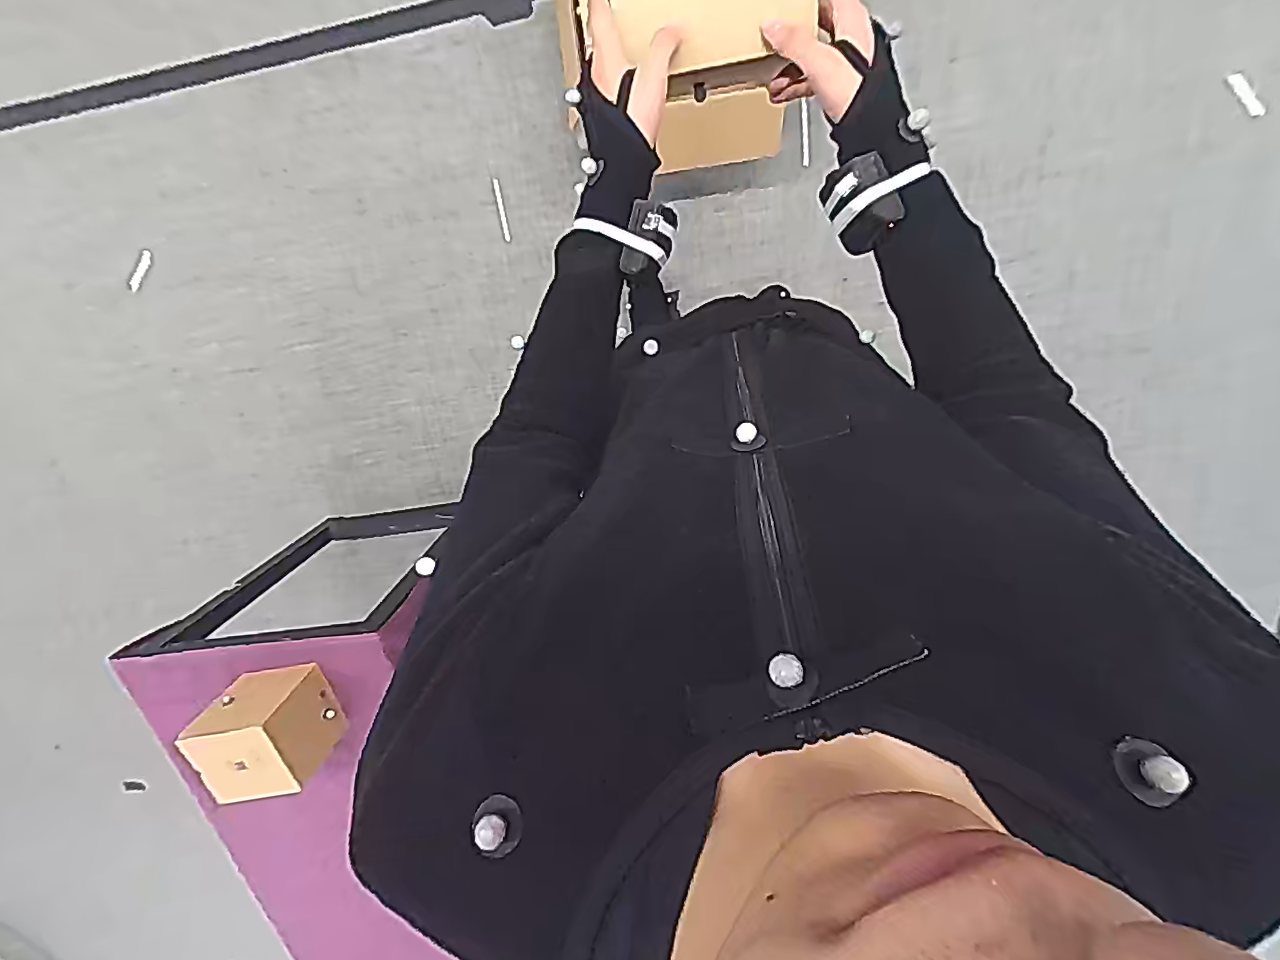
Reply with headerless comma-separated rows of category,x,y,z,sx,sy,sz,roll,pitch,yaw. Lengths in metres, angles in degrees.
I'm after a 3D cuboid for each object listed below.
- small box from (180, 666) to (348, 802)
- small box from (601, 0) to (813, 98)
small box,-0.721,0.492,1.060,0.179,0.176,0.168,-11,111,8
small box,0.046,-0.457,0.476,0.168,0.176,0.179,-10,119,3
